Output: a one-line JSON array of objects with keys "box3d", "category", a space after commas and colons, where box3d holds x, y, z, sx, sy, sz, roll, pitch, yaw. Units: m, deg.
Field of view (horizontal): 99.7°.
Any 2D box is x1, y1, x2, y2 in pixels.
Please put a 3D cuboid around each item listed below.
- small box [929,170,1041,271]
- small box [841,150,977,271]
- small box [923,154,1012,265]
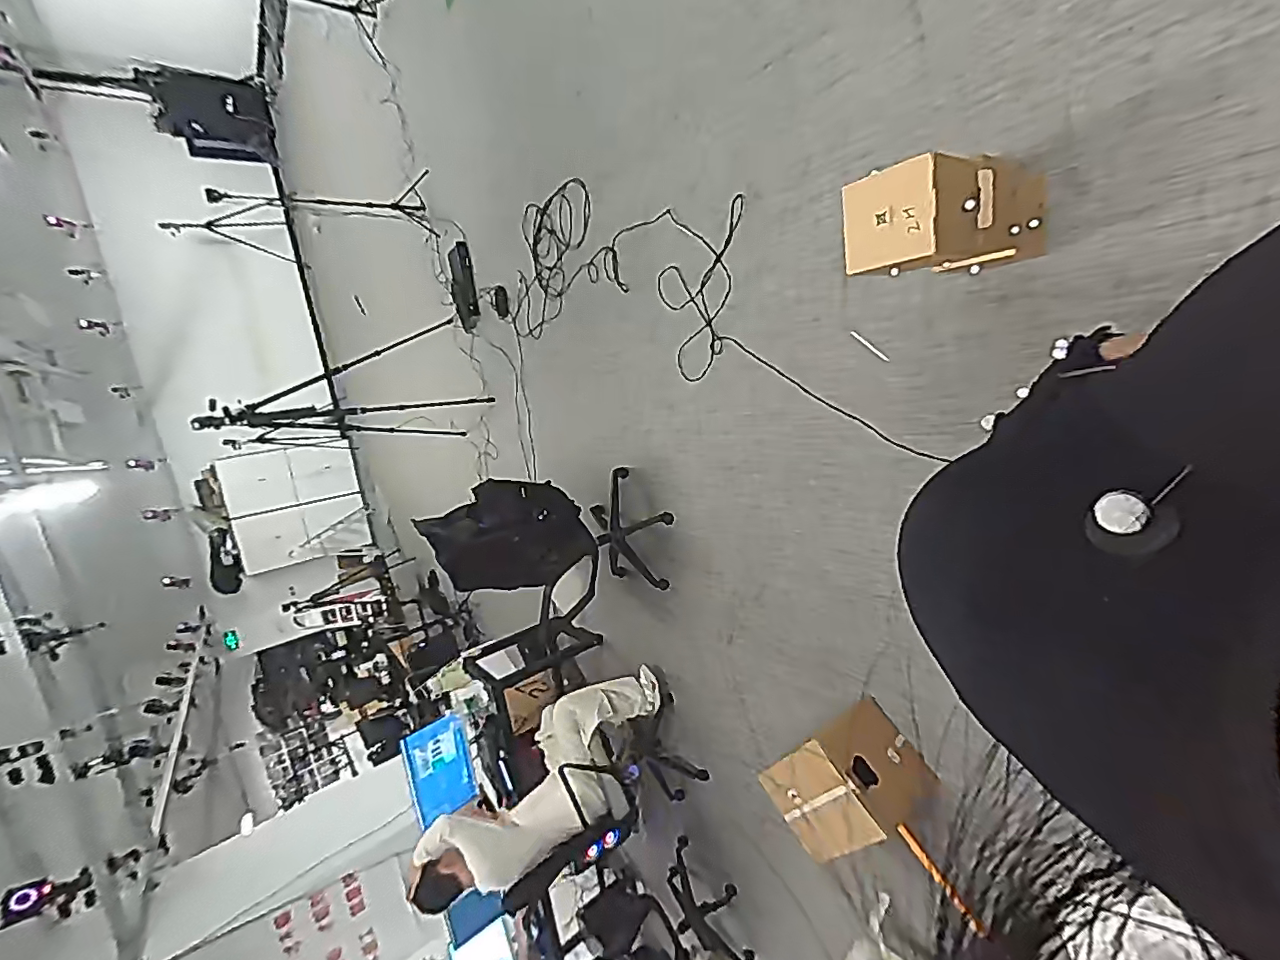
[{"box3d": [0.775, -0.575, 1.216, 0.179, 0.176, 0.168, 7, 109, 53], "category": "small box"}, {"box3d": [0.512, -0.500, 1.033, 0.179, 0.176, 0.168, 8, 110, 53], "category": "small box"}, {"box3d": [0.644, -0.549, 1.120, 0.179, 0.176, 0.168, 9, 110, 54], "category": "small box"}]
